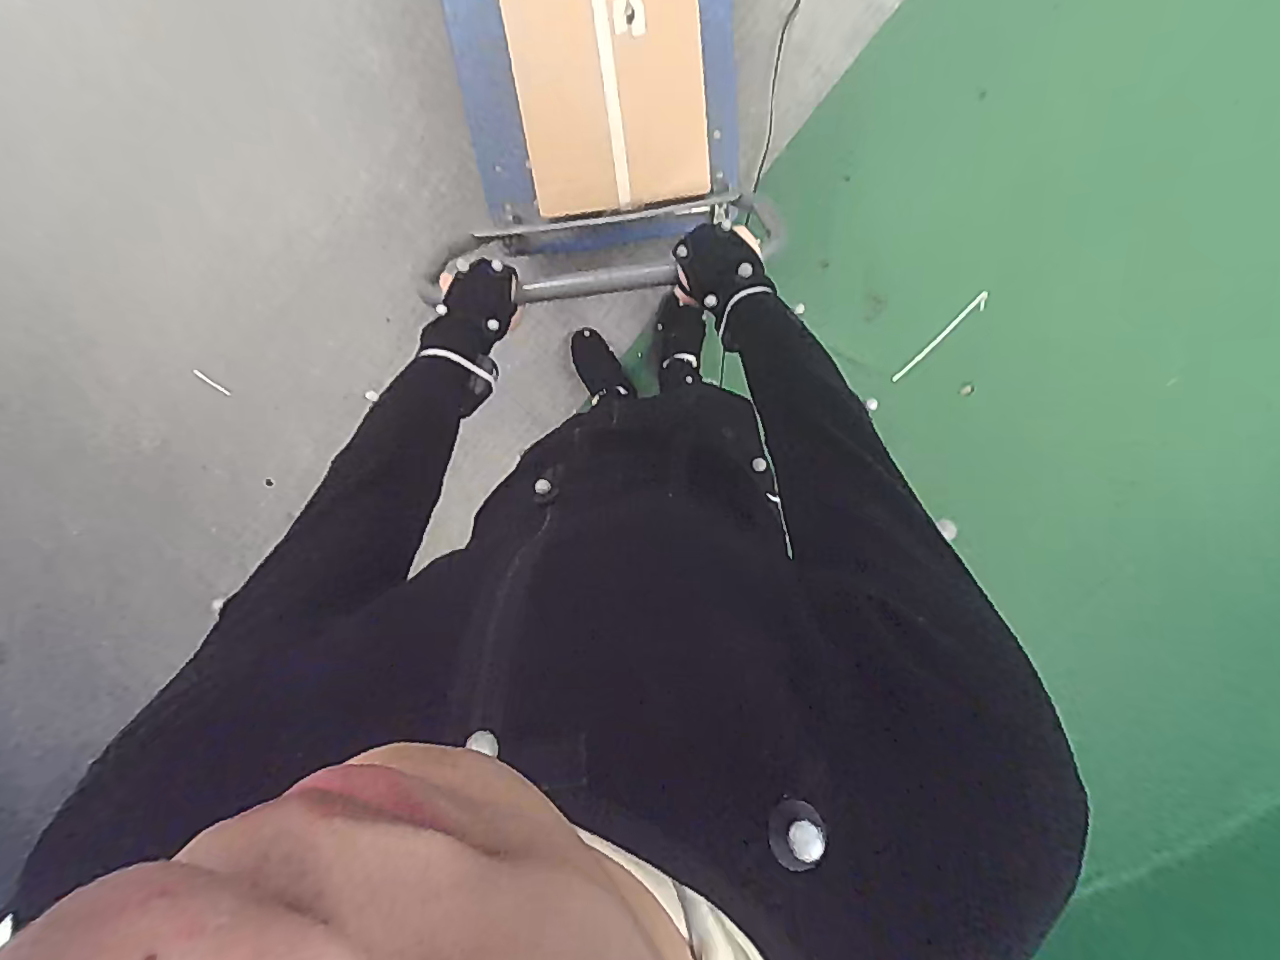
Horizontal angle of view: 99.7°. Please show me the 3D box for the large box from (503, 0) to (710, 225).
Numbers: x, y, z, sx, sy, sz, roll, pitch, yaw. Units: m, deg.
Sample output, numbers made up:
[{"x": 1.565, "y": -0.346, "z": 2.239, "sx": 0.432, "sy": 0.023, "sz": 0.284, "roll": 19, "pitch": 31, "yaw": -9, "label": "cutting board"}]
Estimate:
[{"x": -0.047, "y": -0.738, "z": 1.050, "sx": 0.320, "sy": 0.320, "sz": 0.408, "roll": -7, "pitch": 115, "yaw": 4, "label": "large box"}]
